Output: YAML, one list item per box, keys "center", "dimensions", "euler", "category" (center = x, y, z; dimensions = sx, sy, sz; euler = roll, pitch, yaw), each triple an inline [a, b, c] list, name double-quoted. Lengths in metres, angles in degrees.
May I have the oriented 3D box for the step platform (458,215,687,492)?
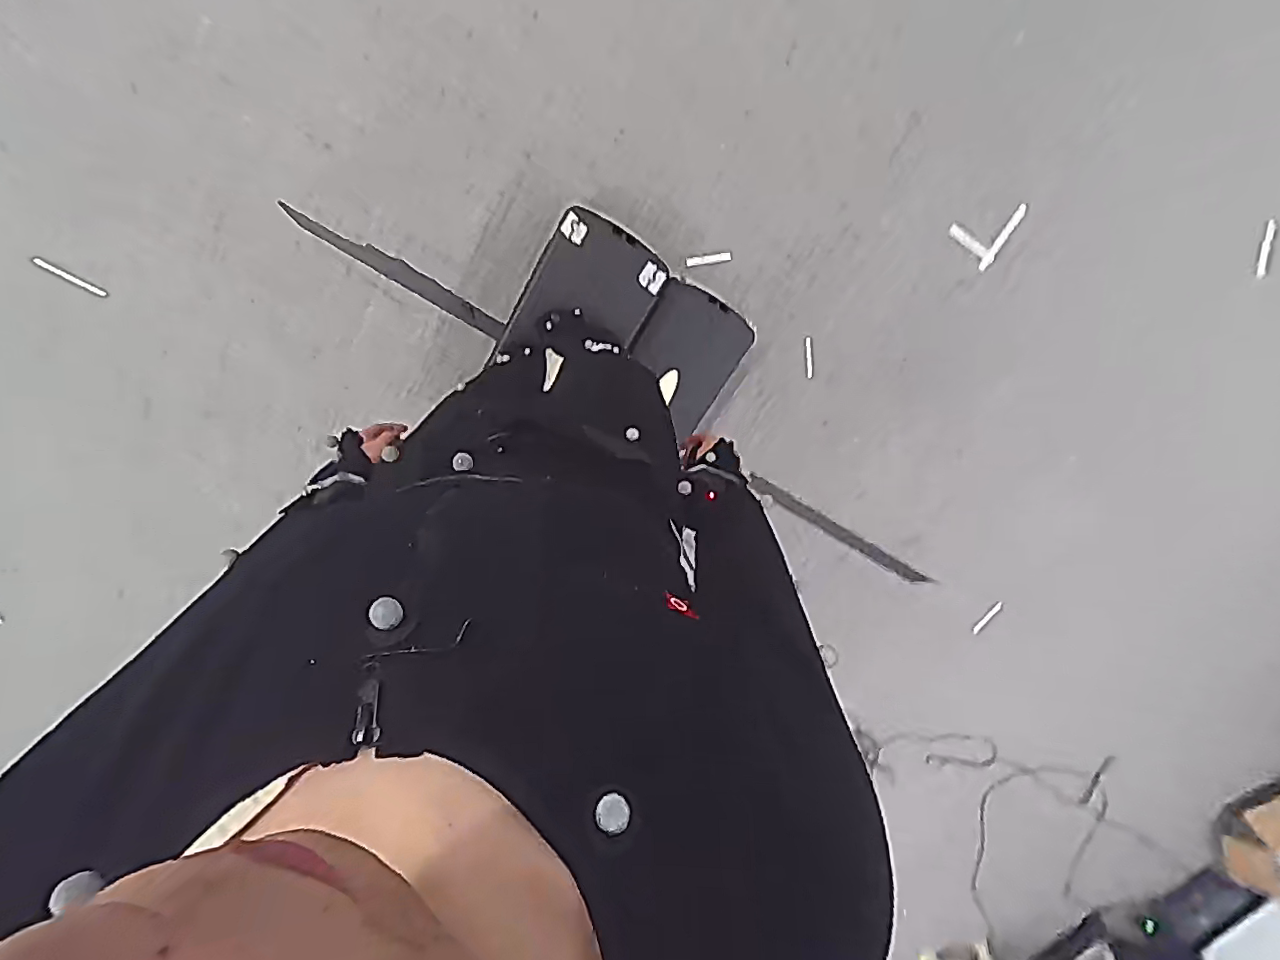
- center: [-0.180, -0.304, 1.378]
  dimensions: [0.286, 0.204, 0.684]
  euler: [33, 104, -16]
  category: "step platform"
